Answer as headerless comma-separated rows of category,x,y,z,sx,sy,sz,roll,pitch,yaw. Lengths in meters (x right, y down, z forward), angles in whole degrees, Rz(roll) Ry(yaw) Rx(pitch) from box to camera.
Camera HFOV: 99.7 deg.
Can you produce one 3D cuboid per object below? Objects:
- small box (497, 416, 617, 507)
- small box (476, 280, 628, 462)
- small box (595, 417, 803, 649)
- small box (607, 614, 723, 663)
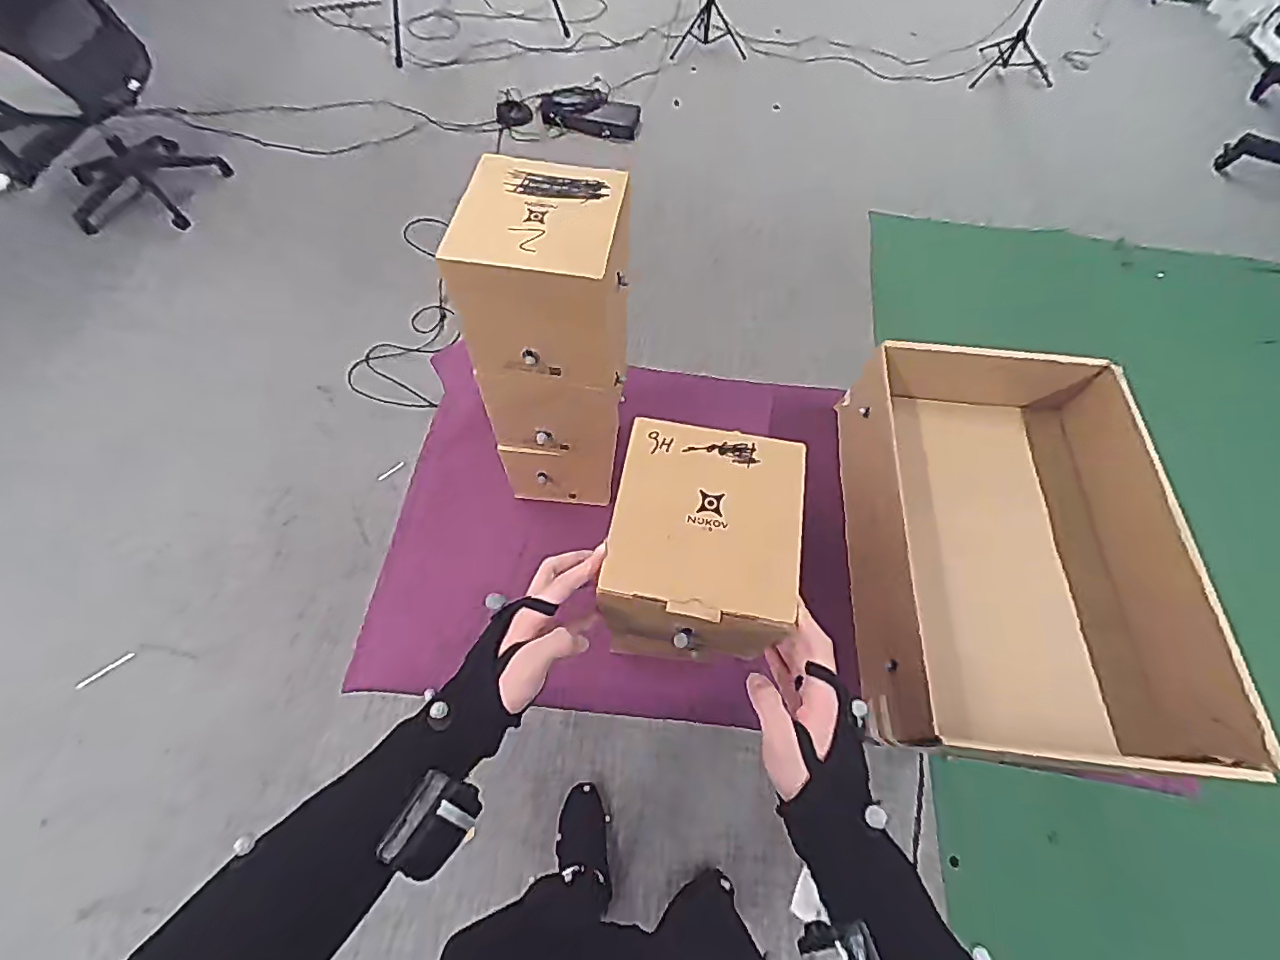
small box,-0.128,-0.068,0.913,0.168,0.176,0.179,5,60,0
small box,-0.114,-0.151,0.772,0.168,0.176,0.179,9,61,3
small box,0.057,0.063,0.551,0.168,0.176,0.179,10,64,4
small box,0.046,0.158,0.791,0.168,0.176,0.179,7,59,0
